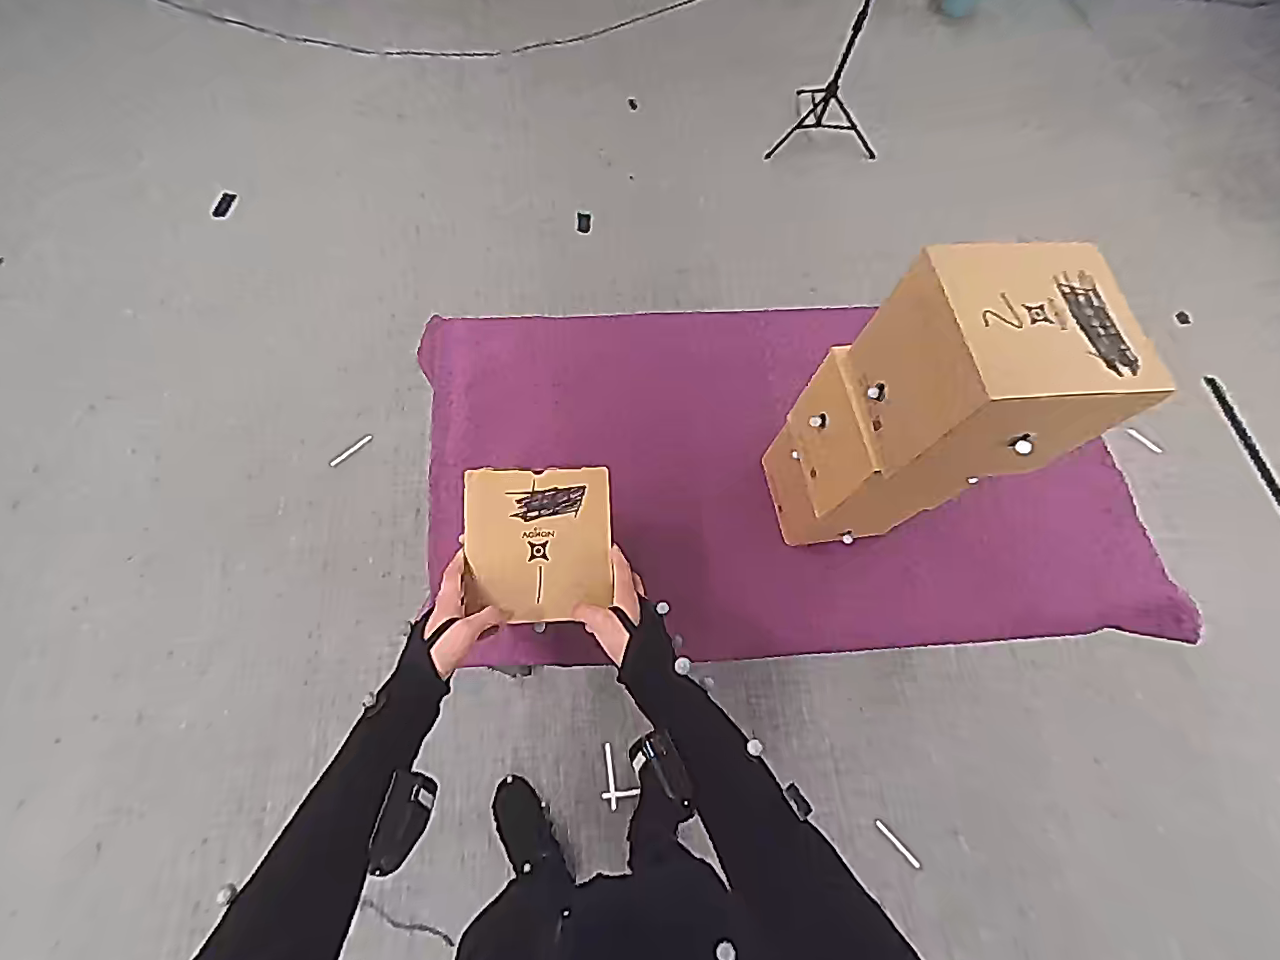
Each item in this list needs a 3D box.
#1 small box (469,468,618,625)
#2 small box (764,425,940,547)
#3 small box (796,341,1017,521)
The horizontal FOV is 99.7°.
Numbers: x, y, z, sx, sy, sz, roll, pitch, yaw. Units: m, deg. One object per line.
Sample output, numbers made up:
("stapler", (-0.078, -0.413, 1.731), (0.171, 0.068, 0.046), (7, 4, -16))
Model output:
("small box", (-0.119, 0.088, 0.689), (0.168, 0.176, 0.179), (-1, 79, -8))
("small box", (0.318, -0.003, 0.846), (0.179, 0.176, 0.168), (-6, 67, -9))
("small box", (0.315, -0.056, 0.690), (0.179, 0.176, 0.168), (-6, 67, -9))
